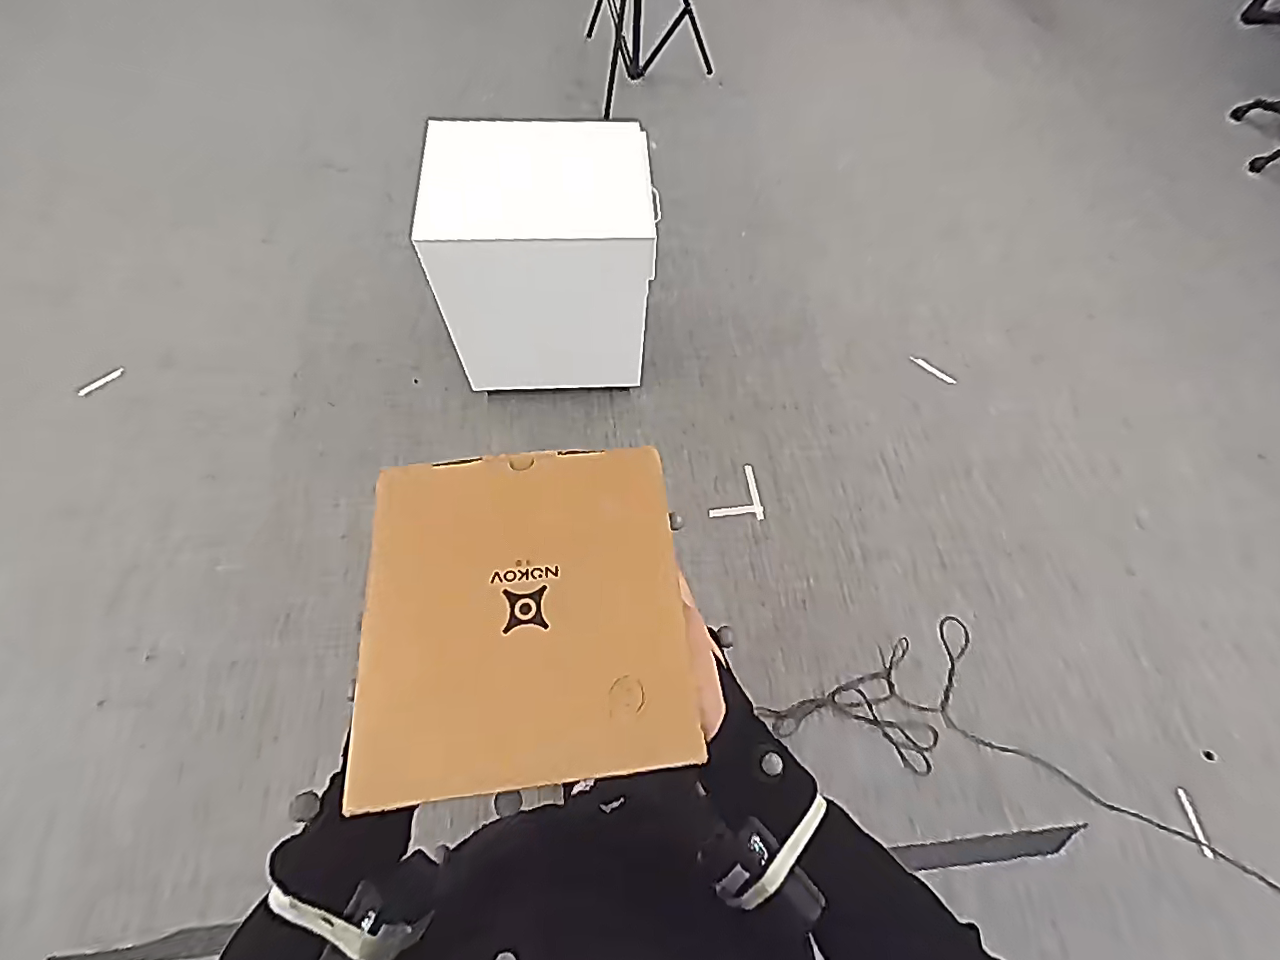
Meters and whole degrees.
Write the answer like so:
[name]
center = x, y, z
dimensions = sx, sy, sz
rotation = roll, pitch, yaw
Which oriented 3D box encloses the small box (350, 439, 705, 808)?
[small box]
center = -0.062, 0.095, 0.353
dimensions = 0.168, 0.176, 0.179
rotation = -5, 63, -6
